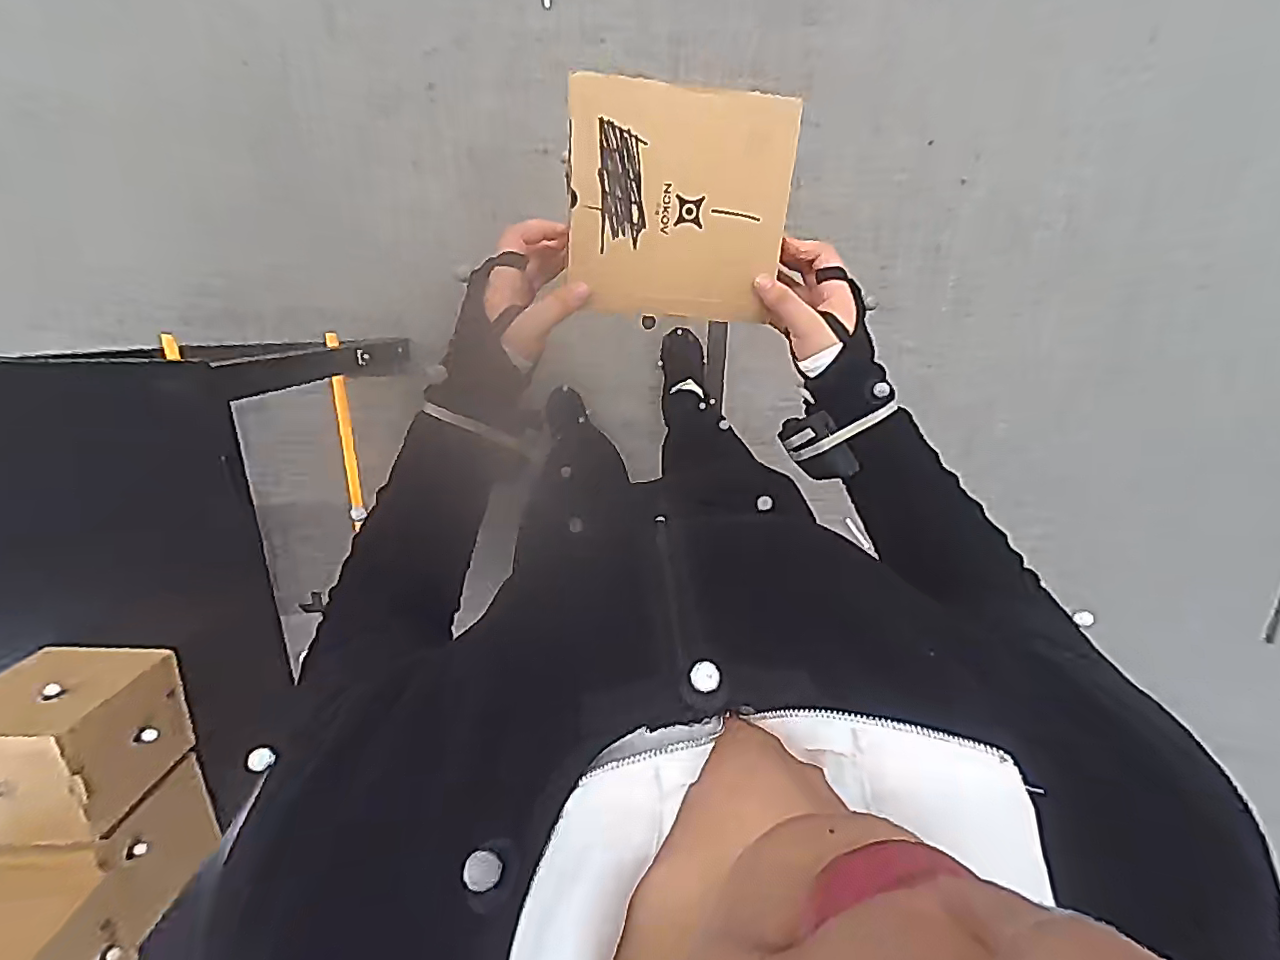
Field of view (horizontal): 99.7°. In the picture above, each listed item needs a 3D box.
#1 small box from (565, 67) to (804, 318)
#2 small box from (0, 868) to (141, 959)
[{"bbox_3d":[0.025,-0.245,0.498,0.179,0.176,0.168,2,111,-7],"label":"small box"},{"bbox_3d":[-0.739,0.579,0.615,0.179,0.176,0.168,2,108,-4],"label":"small box"}]
